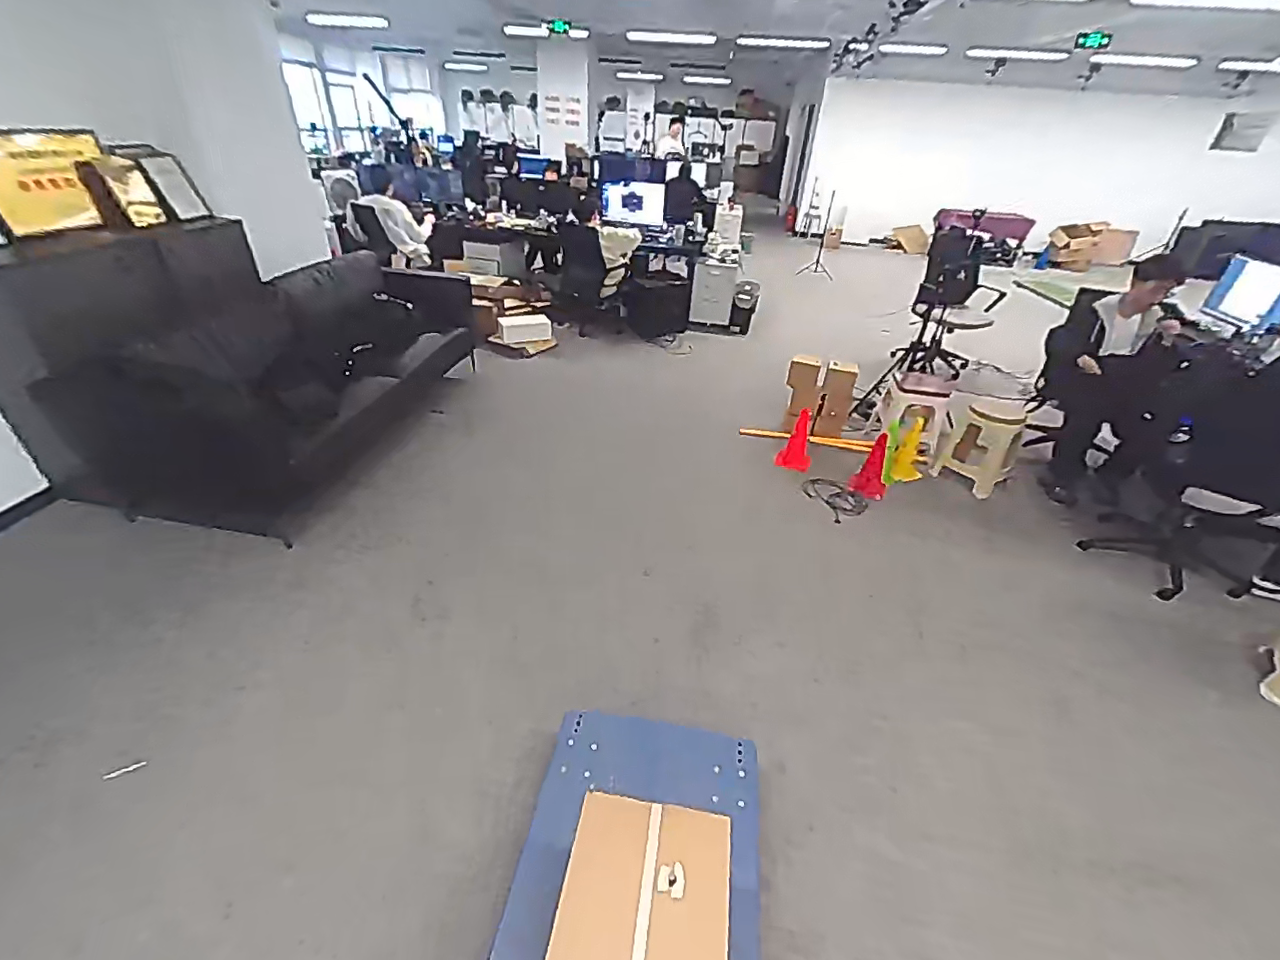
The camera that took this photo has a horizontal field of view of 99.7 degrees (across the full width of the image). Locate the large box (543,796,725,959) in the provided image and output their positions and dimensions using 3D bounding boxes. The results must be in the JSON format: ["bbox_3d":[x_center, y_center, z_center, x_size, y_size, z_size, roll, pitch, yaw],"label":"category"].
[{"bbox_3d":[-0.008,0.925,1.061,0.320,0.320,0.408,7,32,6],"label":"large box"}]
